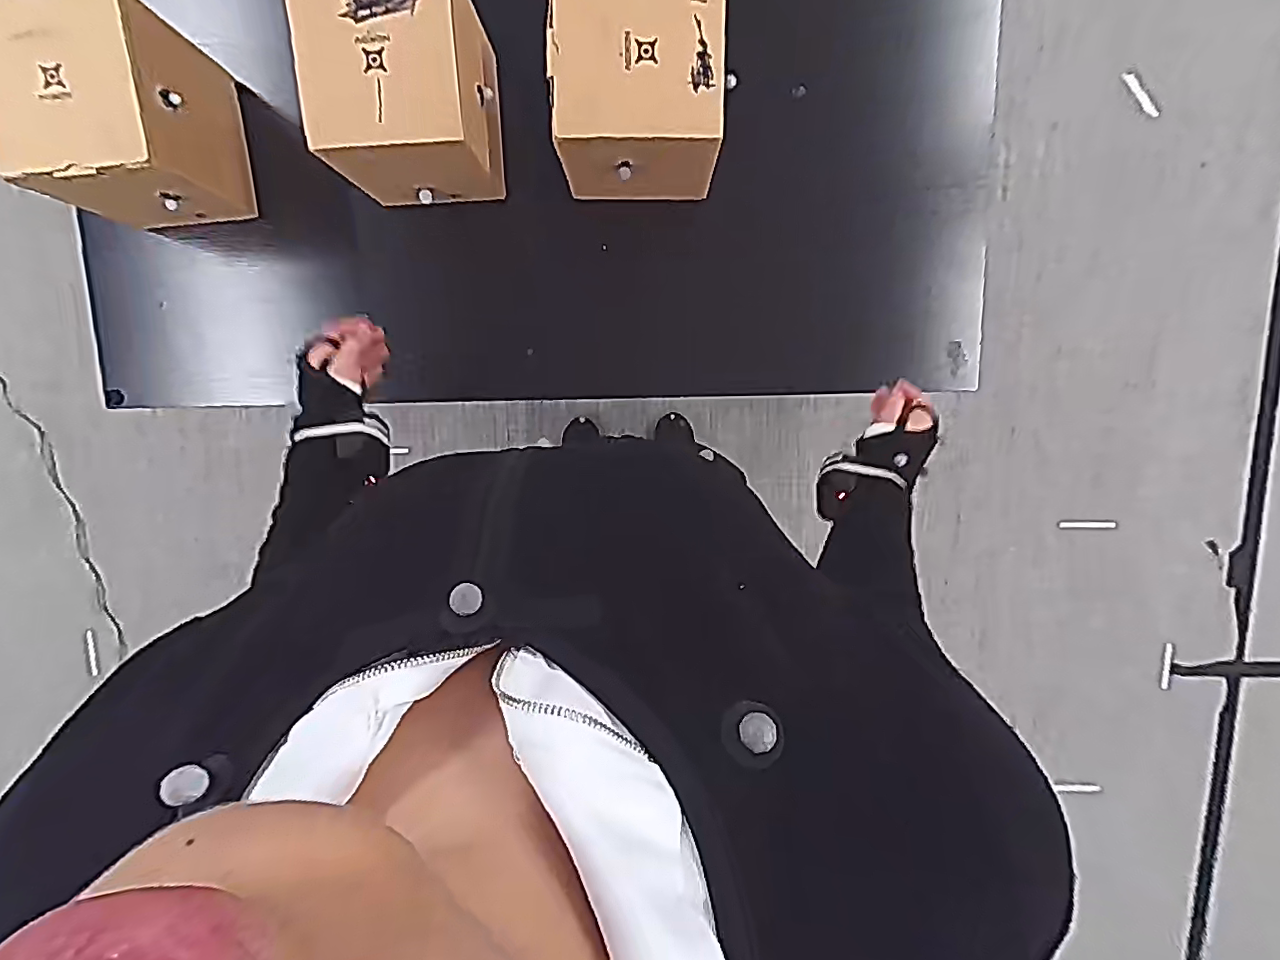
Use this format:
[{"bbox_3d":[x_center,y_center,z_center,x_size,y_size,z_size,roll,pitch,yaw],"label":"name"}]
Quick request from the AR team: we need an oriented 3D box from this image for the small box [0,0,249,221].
[{"bbox_3d":[-0.591,-0.412,0.619,0.168,0.176,0.179,-5,97,0],"label":"small box"}]

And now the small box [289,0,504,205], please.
[{"bbox_3d":[-0.259,-0.435,0.612,0.168,0.176,0.179,-2,99,1],"label":"small box"}]

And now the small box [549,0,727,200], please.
[{"bbox_3d":[0.001,-0.433,0.611,0.179,0.176,0.168,1,98,1],"label":"small box"}]
